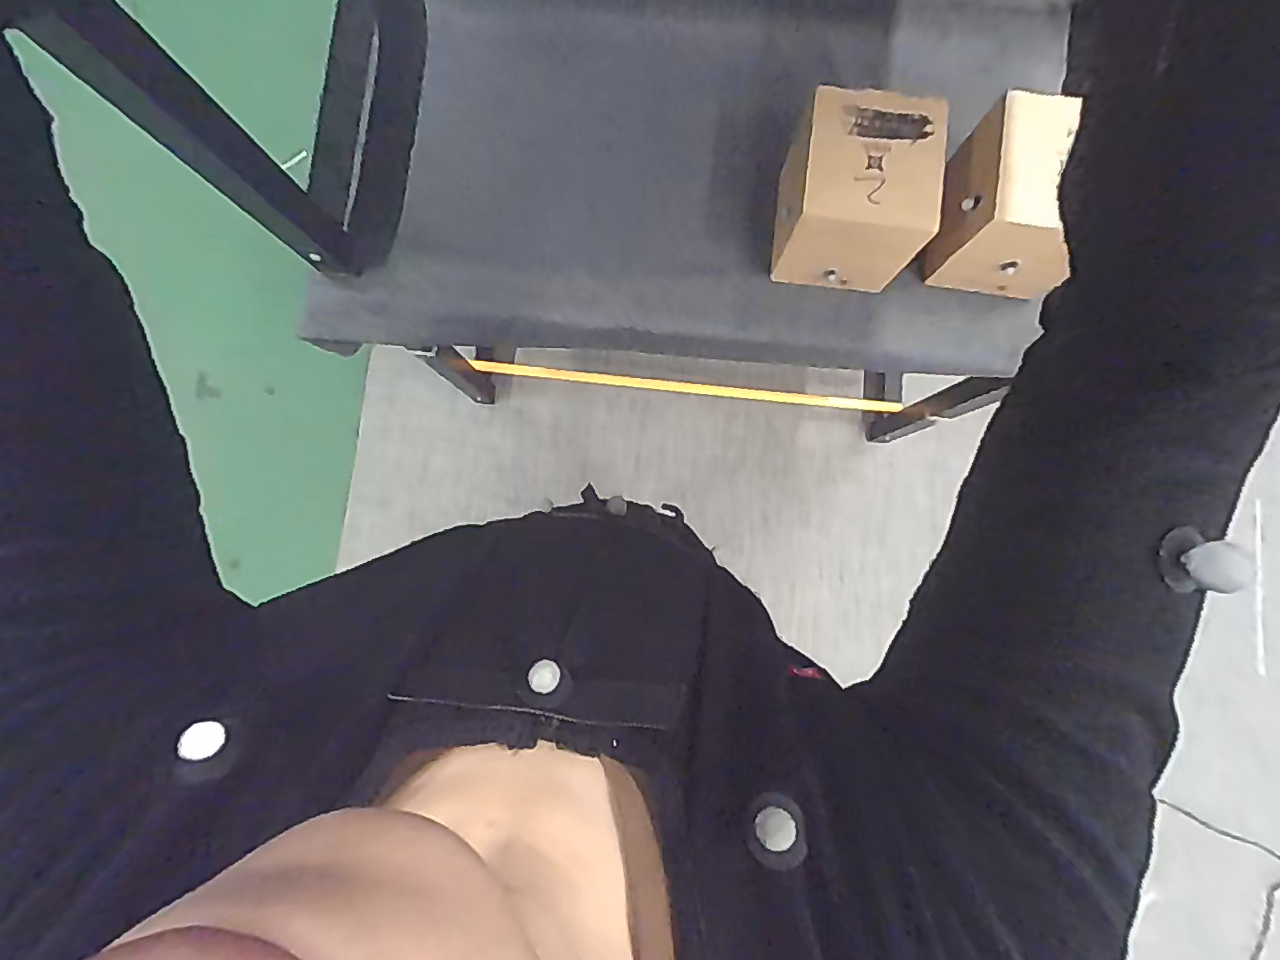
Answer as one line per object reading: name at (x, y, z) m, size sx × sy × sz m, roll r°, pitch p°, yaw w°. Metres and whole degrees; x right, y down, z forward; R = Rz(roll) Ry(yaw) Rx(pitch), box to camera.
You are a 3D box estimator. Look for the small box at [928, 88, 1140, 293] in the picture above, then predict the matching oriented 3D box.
small box at (0.516, -0.376, 0.733) m, size 0.168 × 0.176 × 0.179 m, roll 9°, pitch 84°, yaw 1°
